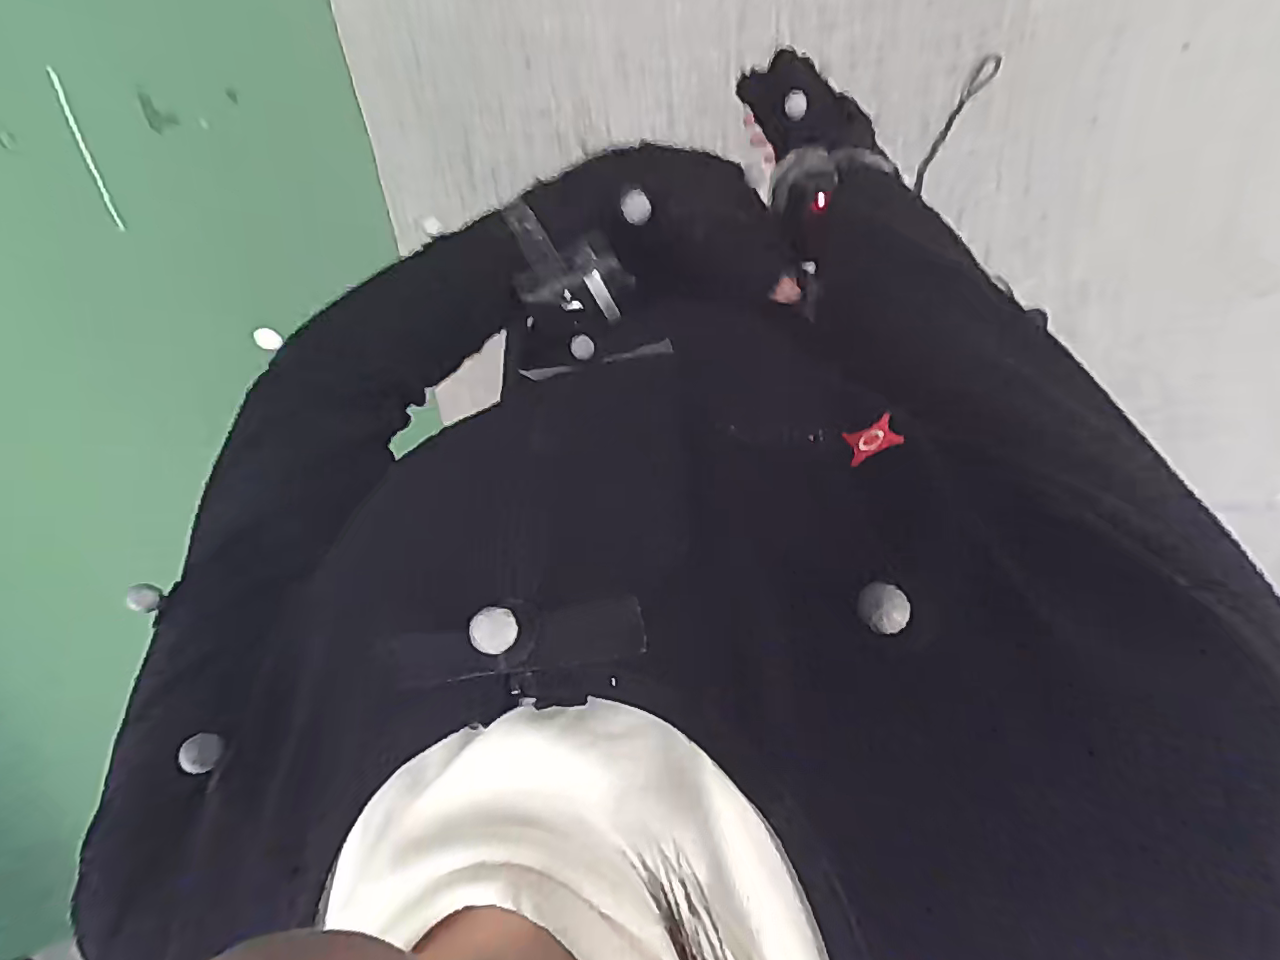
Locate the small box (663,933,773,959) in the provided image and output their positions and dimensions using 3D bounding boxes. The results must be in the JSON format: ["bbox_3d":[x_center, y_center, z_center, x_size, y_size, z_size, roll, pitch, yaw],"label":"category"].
[{"bbox_3d":[0.124,0.836,0.835,0.179,0.176,0.168,-4,117,5],"label":"small box"}]

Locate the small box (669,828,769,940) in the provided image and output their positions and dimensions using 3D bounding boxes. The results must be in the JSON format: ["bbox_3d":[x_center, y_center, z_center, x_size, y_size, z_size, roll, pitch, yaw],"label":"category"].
[{"bbox_3d":[0.140,0.764,0.983,0.168,0.176,0.179,-5,116,7],"label":"small box"}]
